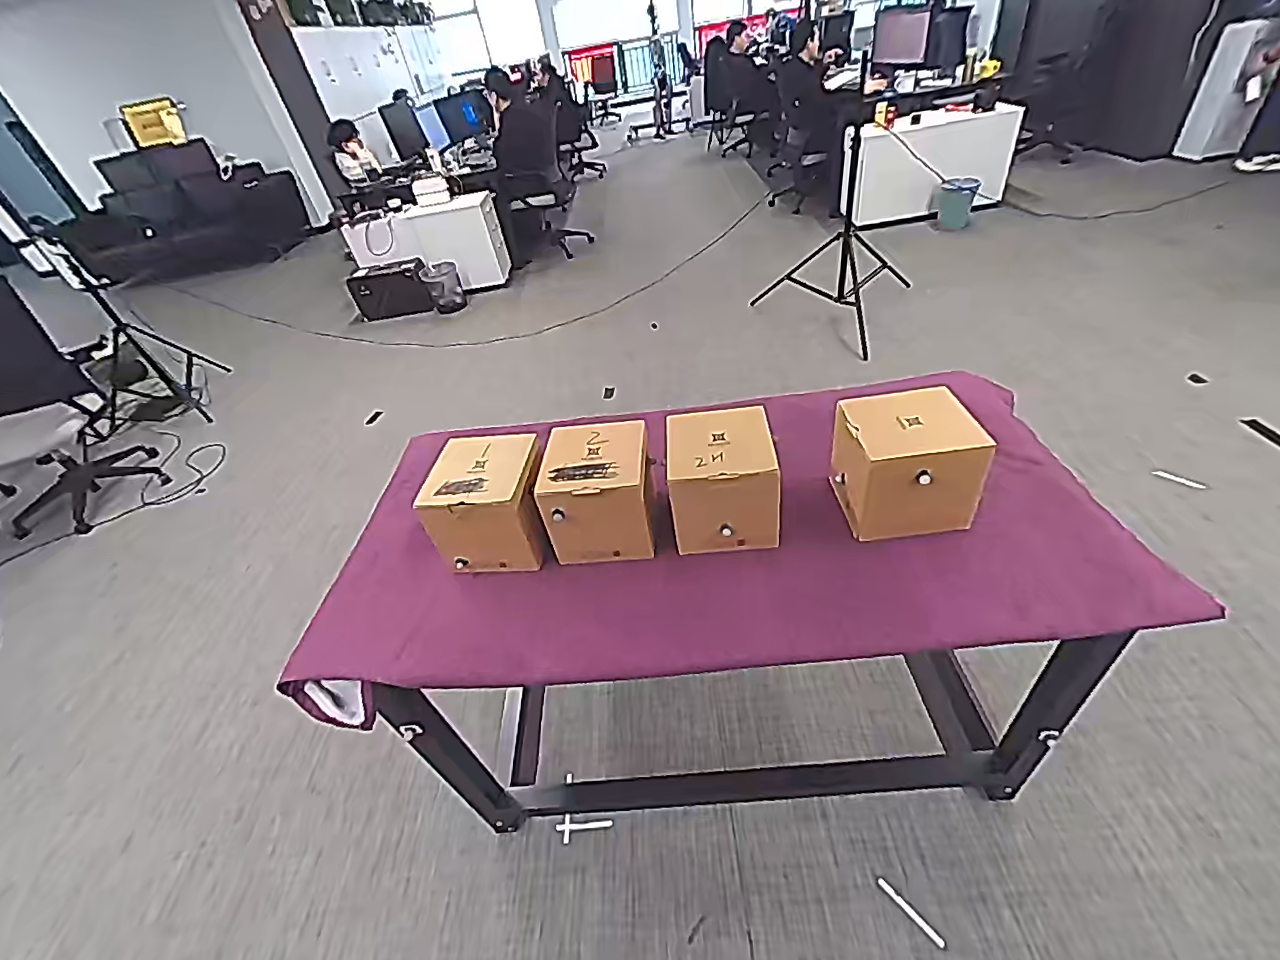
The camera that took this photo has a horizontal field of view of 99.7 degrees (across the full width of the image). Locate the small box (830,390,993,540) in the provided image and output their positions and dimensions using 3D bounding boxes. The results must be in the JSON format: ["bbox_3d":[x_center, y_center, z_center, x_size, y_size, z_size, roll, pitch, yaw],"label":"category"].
[{"bbox_3d":[0.419,-0.022,0.870,0.179,0.176,0.168,-8,38,5],"label":"small box"}]
